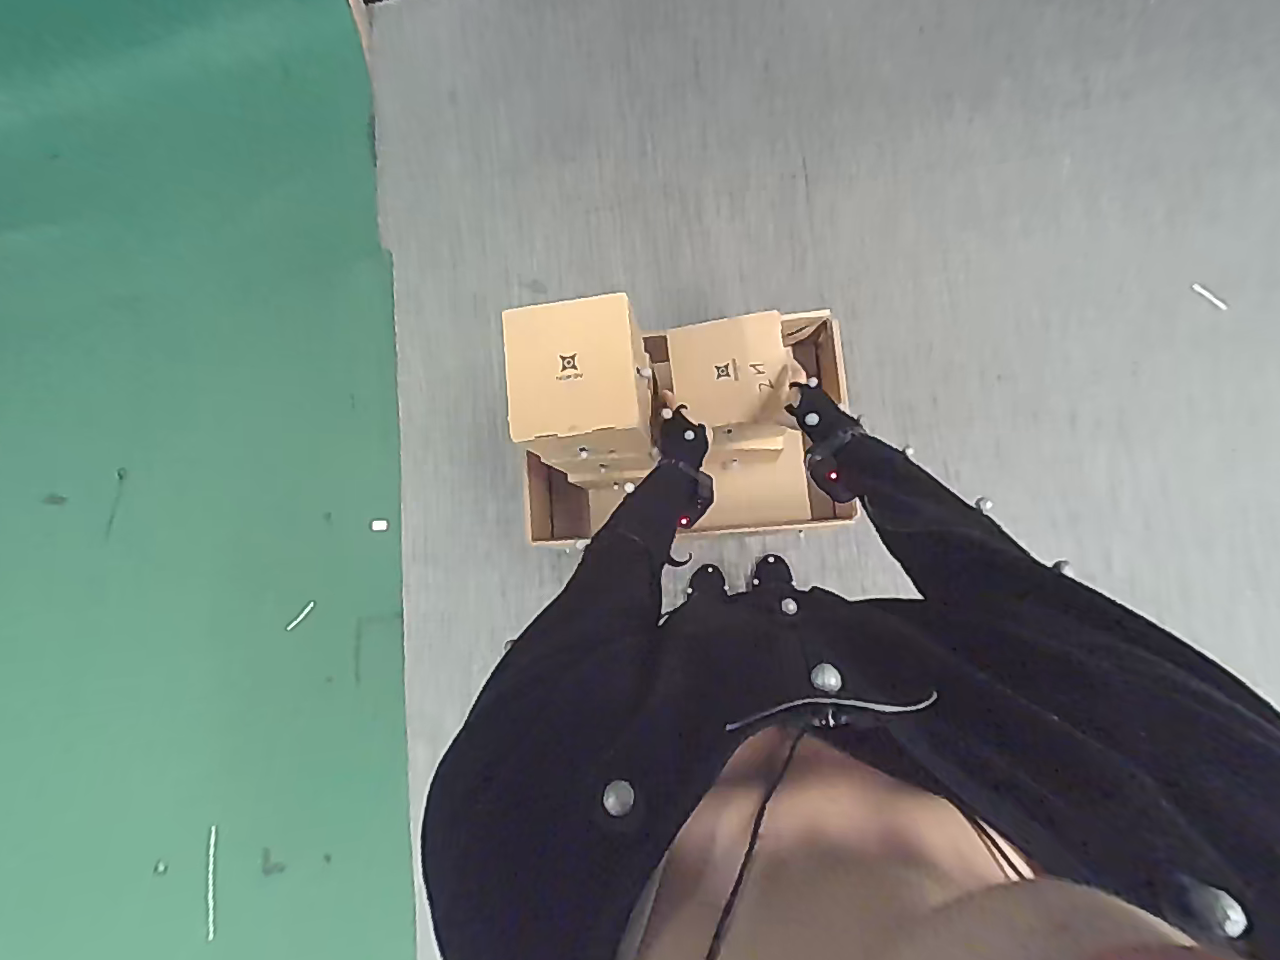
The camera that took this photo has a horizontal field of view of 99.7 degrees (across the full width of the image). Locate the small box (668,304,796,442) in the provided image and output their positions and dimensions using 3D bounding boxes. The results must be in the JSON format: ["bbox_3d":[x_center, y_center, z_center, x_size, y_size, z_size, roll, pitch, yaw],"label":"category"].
[{"bbox_3d":[0.149,-0.162,0.881,0.179,0.176,0.168,-7,83,9],"label":"small box"}]

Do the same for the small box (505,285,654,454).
[{"bbox_3d":[-0.076,-0.141,0.749,0.168,0.176,0.179,-6,83,7],"label":"small box"}]
